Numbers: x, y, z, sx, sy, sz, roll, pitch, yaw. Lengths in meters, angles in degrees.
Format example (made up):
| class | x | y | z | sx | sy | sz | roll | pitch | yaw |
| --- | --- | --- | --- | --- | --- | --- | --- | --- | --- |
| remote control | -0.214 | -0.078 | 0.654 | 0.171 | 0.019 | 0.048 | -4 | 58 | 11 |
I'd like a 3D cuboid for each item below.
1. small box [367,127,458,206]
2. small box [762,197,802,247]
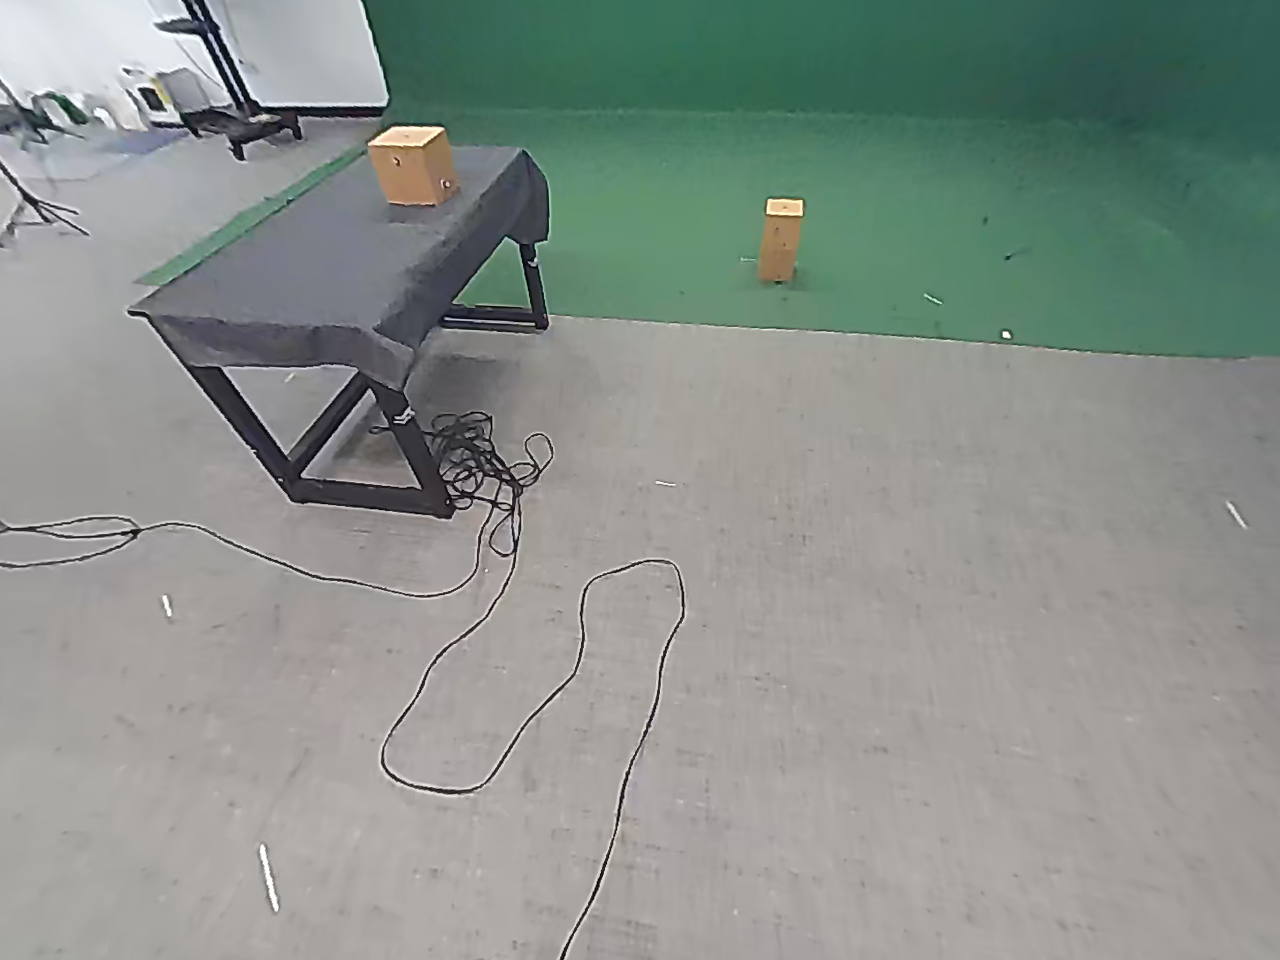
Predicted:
| class | x | y | z | sx | sy | sz | roll | pitch | yaw |
| --- | --- | --- | --- | --- | --- | --- | --- | --- | --- |
| small box | -0.688 | -0.961 | 1.661 | 0.179 | 0.176 | 0.168 | 7 | 50 | 8 |
| small box | 0.680 | -1.235 | 2.591 | 0.168 | 0.176 | 0.179 | 7 | 49 | 9 |
